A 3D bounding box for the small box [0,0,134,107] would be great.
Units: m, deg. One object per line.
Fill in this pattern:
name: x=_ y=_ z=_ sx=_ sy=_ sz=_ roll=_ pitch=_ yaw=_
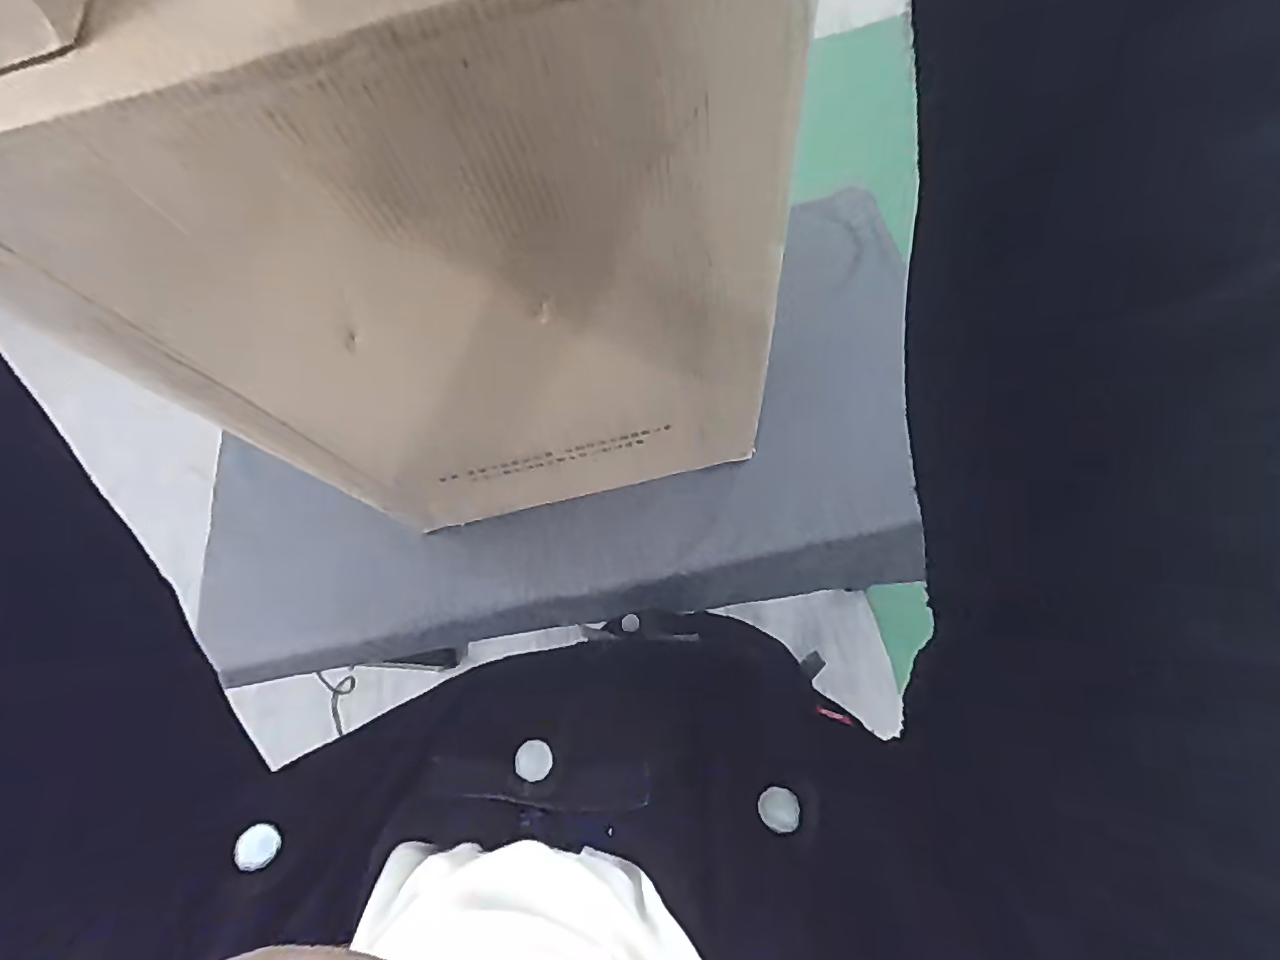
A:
small box: x=-0.377 y=-0.296 z=0.243 sx=0.168 sy=0.176 sz=0.179 roll=-17 pitch=69 yaw=3
